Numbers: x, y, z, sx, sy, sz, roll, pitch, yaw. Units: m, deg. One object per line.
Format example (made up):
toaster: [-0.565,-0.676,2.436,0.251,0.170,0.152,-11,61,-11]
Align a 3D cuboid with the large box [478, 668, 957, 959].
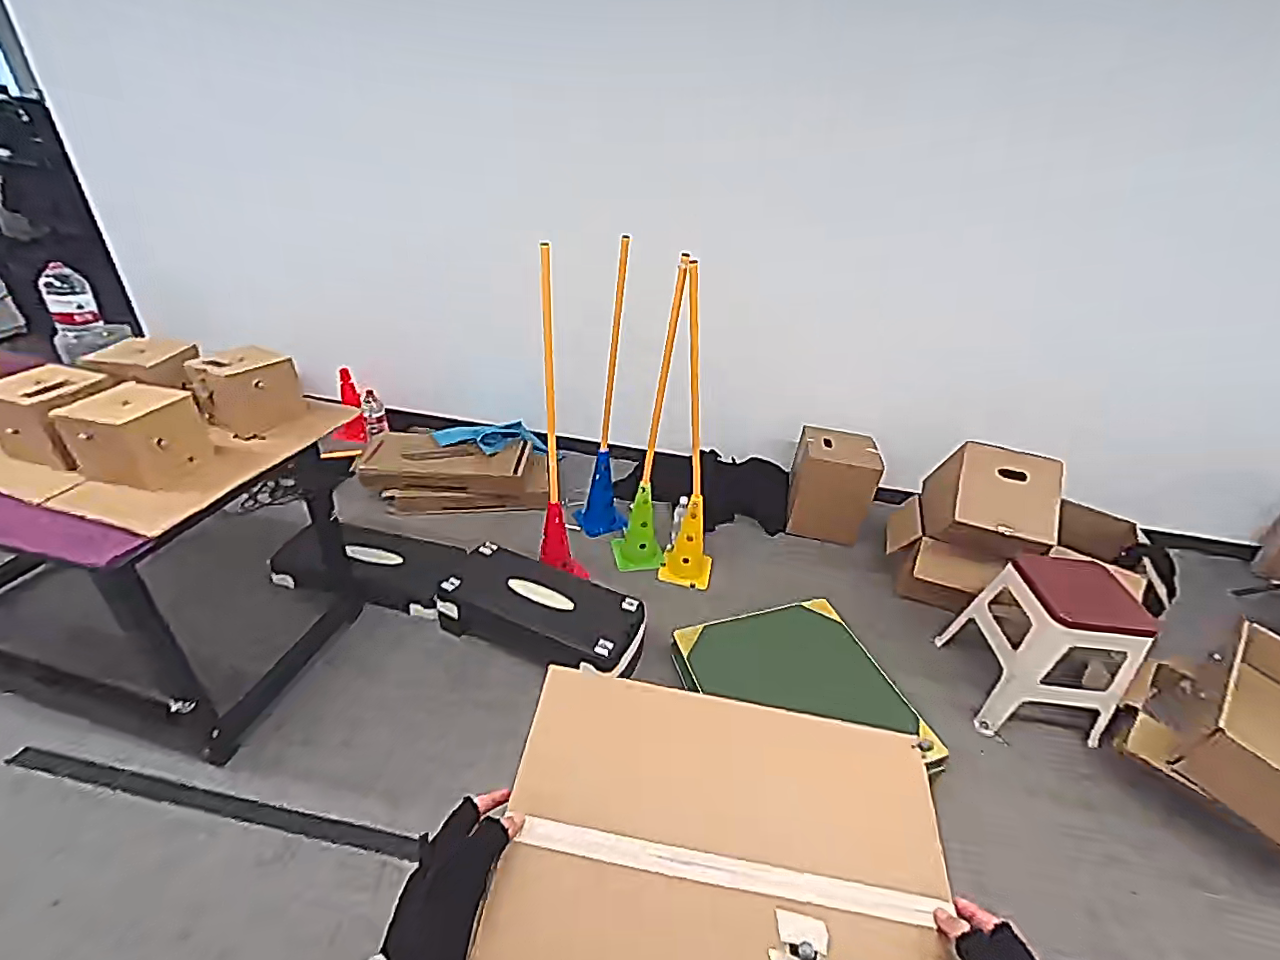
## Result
large box: [0.067,0.454,0.600,0.408,0.320,0.320,10,45,4]
